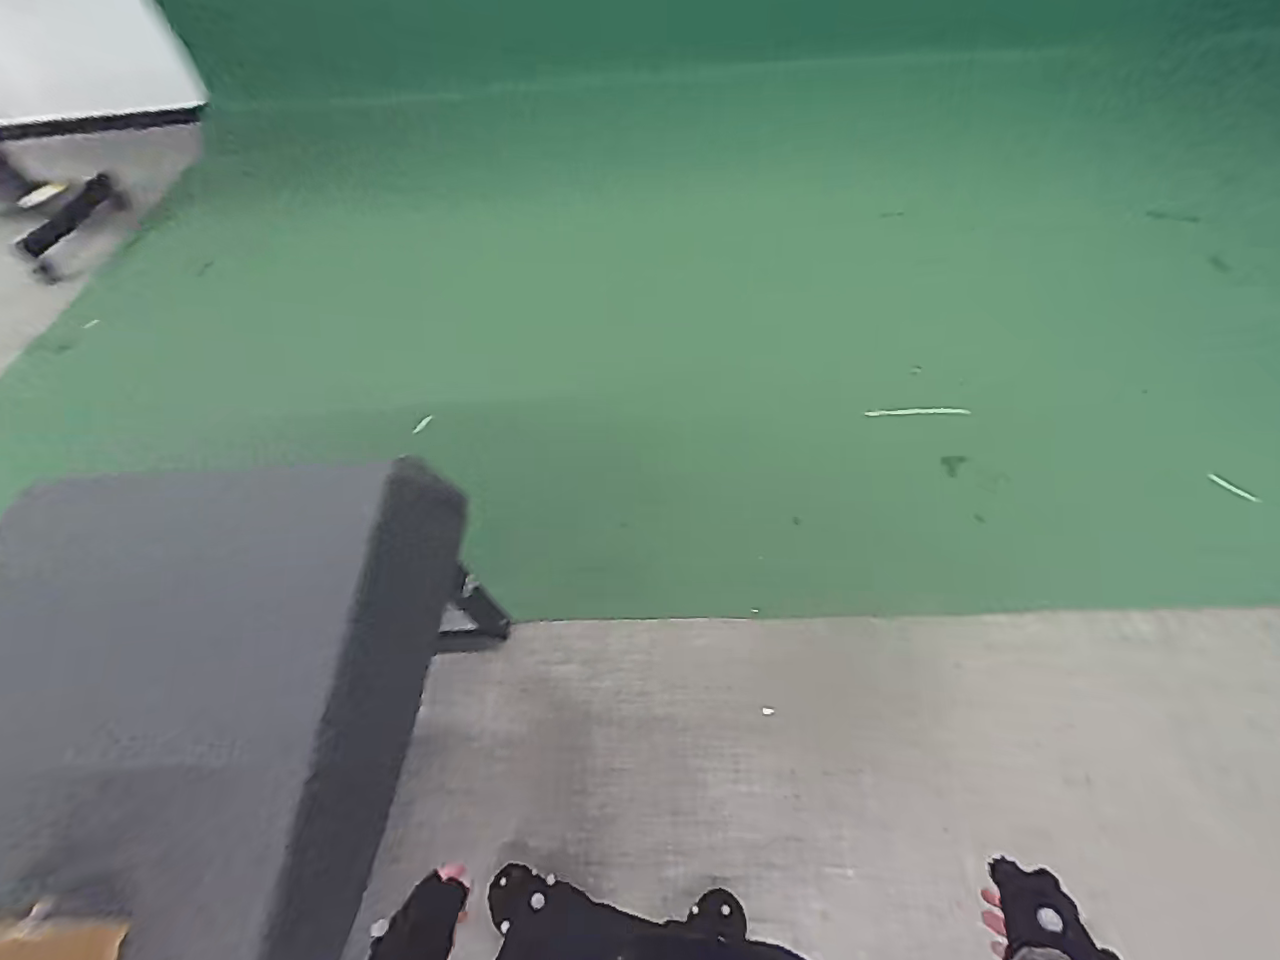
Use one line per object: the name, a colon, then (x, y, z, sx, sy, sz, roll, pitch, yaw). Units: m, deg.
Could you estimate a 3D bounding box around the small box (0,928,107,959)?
small box: (-0.603, 0.482, 0.431, 0.168, 0.176, 0.179, -3, 56, 2)
